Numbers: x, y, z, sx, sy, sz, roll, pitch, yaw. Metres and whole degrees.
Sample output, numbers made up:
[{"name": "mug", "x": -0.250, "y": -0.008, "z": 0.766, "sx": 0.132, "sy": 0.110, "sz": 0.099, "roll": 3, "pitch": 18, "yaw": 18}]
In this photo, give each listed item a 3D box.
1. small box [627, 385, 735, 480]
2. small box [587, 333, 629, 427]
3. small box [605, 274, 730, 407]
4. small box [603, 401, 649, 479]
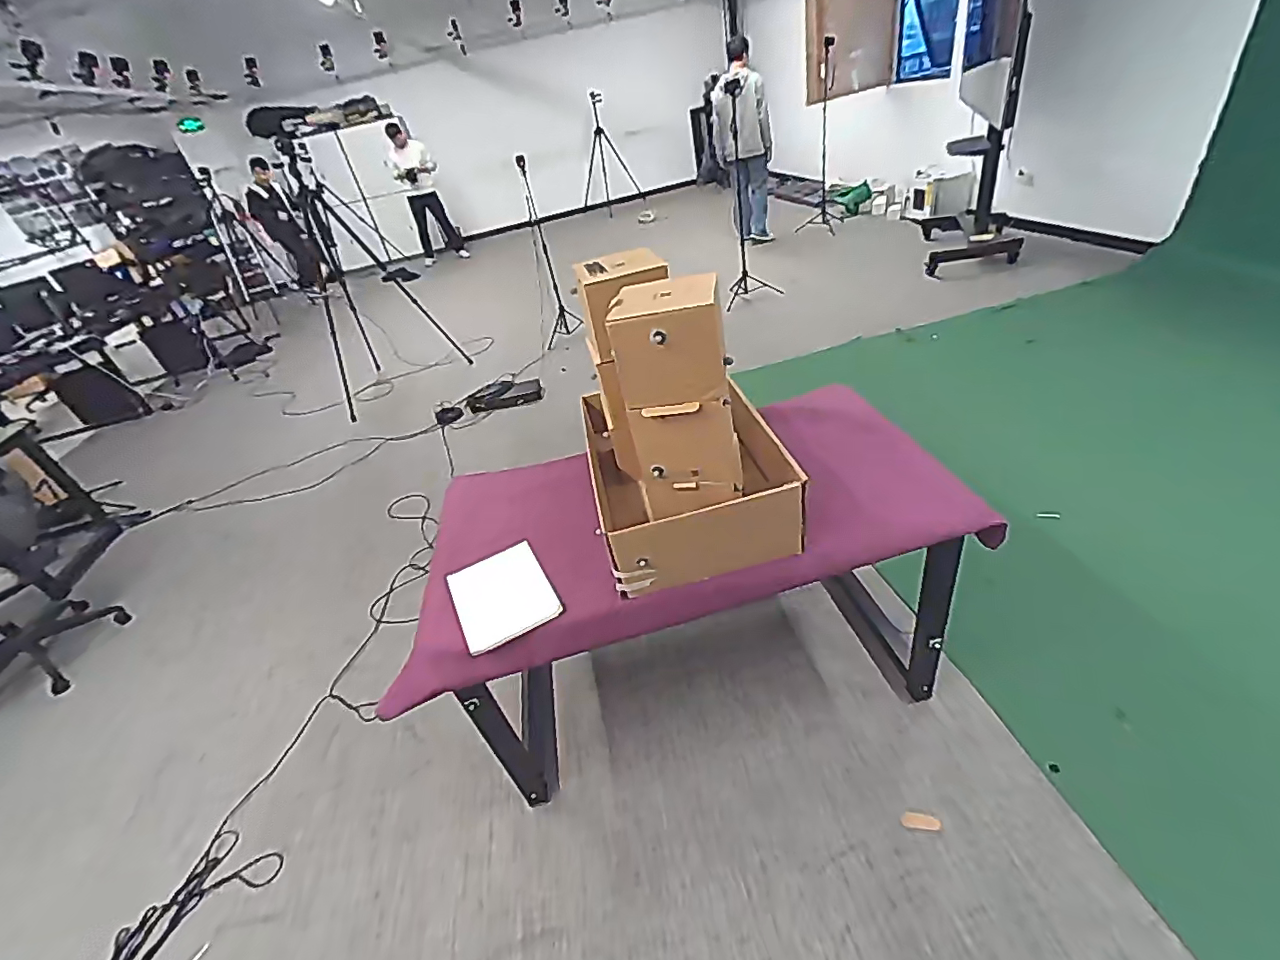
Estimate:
[{"name": "small box", "x": 0.088, "y": -0.111, "z": 1.040, "sx": 0.168, "sy": 0.176, "sz": 0.179, "roll": -4, "pitch": 35, "yaw": 16}, {"name": "small box", "x": -0.012, "y": -0.245, "z": 1.268, "sx": 0.179, "sy": 0.176, "sz": 0.168, "roll": -16, "pitch": 37, "yaw": -4}, {"name": "small box", "x": 0.056, "y": -0.239, "z": 0.944, "sx": 0.179, "sy": 0.176, "sz": 0.168, "roll": -5, "pitch": 36, "yaw": 14}, {"name": "small box", "x": 0.012, "y": -0.119, "z": 1.366, "sx": 0.168, "sy": 0.176, "sz": 0.179, "roll": -14, "pitch": 37, "yaw": -1}]
